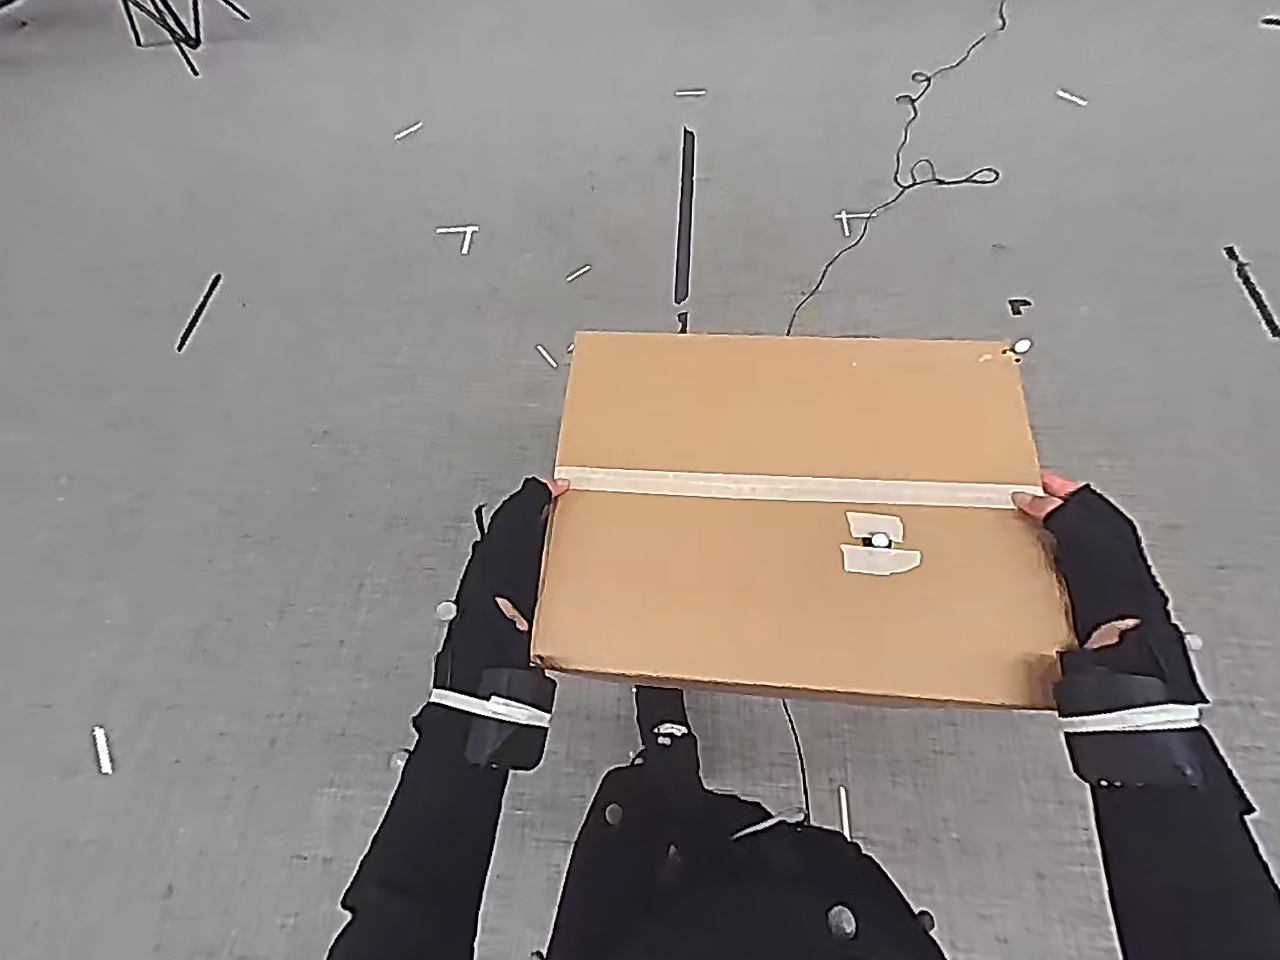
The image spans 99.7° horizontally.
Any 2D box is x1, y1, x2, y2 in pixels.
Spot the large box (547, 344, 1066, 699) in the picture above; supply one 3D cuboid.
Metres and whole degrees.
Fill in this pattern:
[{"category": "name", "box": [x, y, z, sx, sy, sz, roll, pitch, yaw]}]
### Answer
[{"category": "large box", "box": [0.136, 0.069, 0.607, 0.408, 0.320, 0.320, 3, 69, 4]}]
